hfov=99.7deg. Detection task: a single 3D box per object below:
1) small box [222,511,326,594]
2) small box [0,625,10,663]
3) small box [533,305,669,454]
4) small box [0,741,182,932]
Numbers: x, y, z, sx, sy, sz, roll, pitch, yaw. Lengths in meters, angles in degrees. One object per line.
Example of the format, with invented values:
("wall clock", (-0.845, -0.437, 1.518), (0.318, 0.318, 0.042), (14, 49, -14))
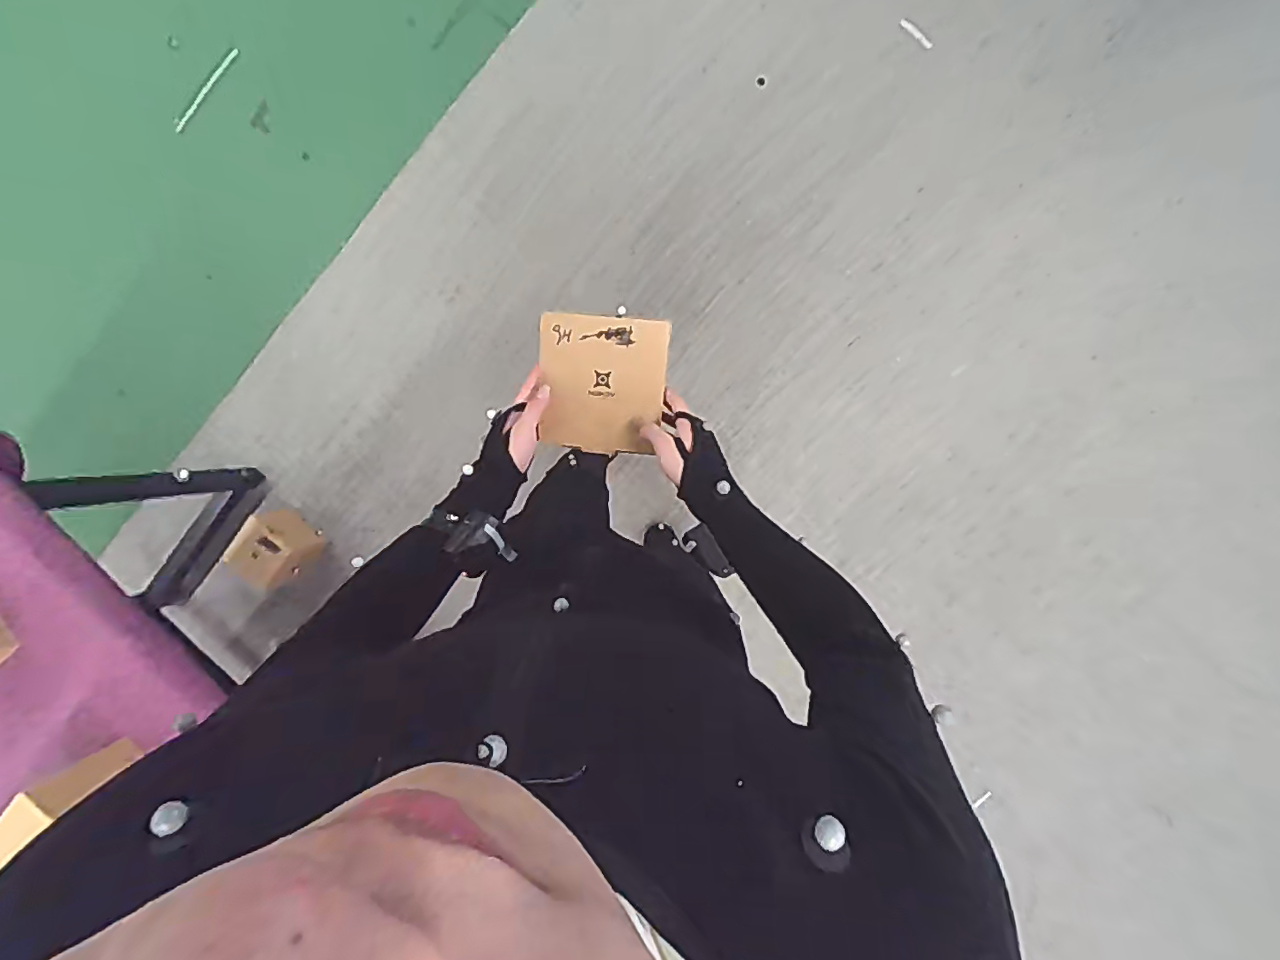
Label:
("small box", (-1.110, 0.214, 1.658), (0.168, 0.176, 0.179), (40, 98, 3))
("small box", (-1.294, 0.305, 0.953), (0.179, 0.176, 0.168), (-38, 89, 7))
("small box", (-0.048, -0.150, 0.767), (0.168, 0.176, 0.179), (6, 108, 2))
("small box", (-0.963, 0.604, 0.938), (0.168, 0.176, 0.179), (41, 97, 2))
